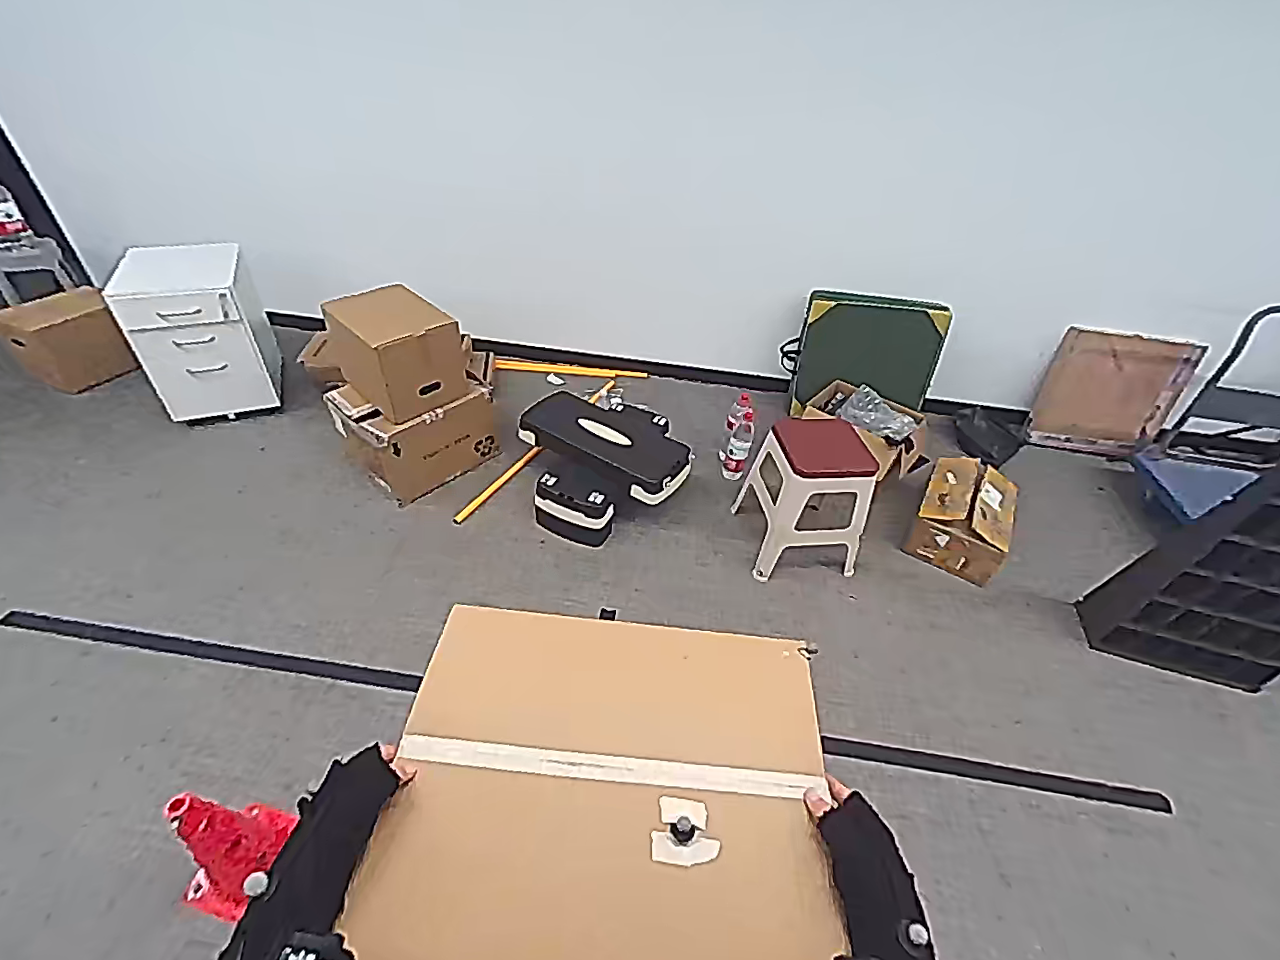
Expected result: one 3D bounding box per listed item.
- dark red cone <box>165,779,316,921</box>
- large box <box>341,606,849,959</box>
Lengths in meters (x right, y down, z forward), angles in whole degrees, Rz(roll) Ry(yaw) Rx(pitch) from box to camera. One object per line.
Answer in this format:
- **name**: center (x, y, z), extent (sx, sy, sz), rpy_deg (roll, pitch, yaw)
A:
- **dark red cone**: center (-0.838, 0.697, 1.078), extent (0.201, 0.394, 0.202), rpy_deg (13, 41, 7)
- **large box**: center (-0.036, 0.377, 0.621), extent (0.408, 0.320, 0.320), rpy_deg (7, 44, 0)
